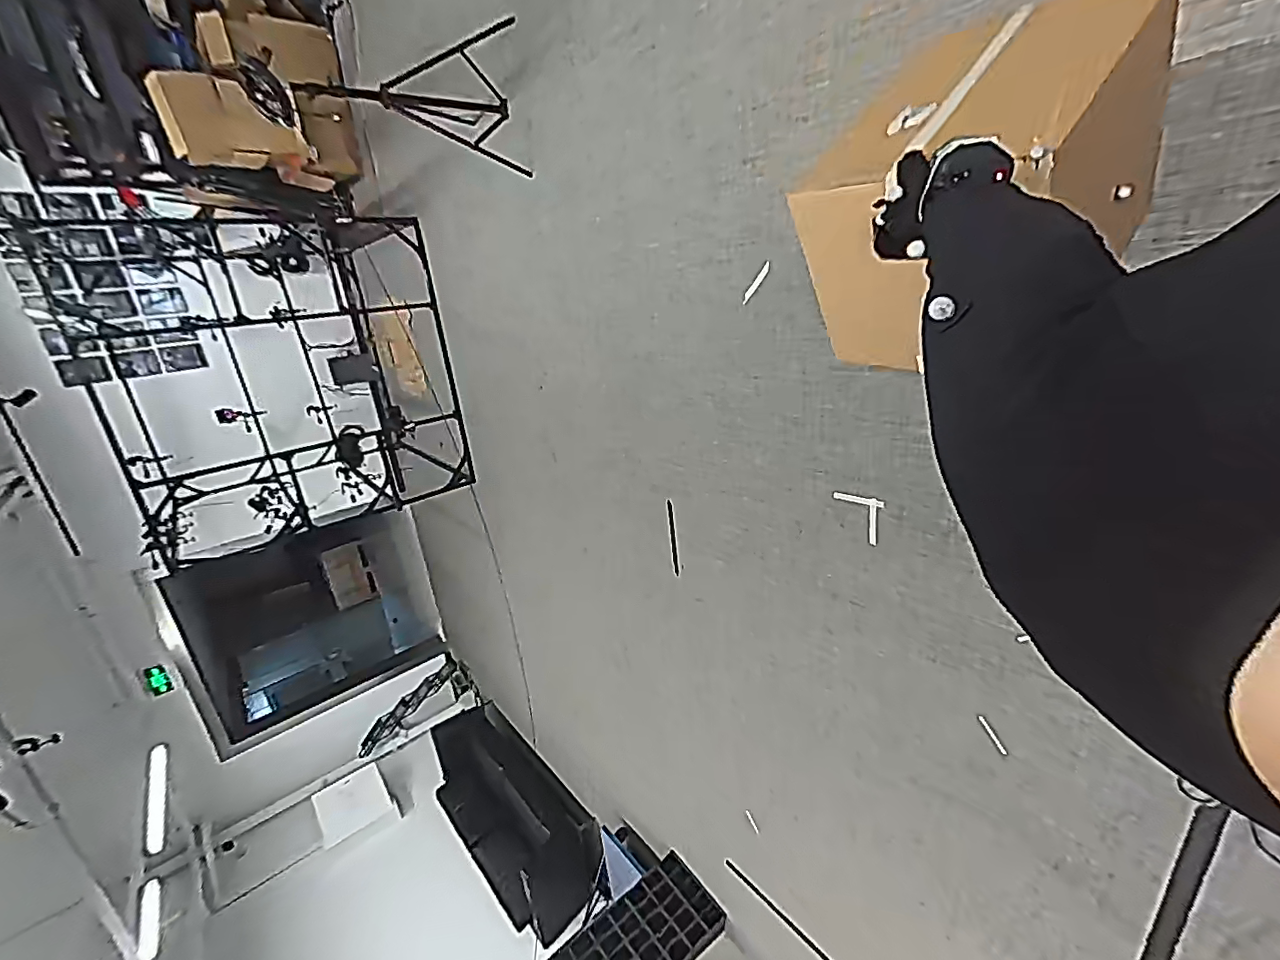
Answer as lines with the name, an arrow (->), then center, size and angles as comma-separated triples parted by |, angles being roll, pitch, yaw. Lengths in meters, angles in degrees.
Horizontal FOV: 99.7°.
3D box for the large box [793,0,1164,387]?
large box -> 0.498, -0.400, 0.806 | 0.320, 0.408, 0.320 | 21, 155, 47
